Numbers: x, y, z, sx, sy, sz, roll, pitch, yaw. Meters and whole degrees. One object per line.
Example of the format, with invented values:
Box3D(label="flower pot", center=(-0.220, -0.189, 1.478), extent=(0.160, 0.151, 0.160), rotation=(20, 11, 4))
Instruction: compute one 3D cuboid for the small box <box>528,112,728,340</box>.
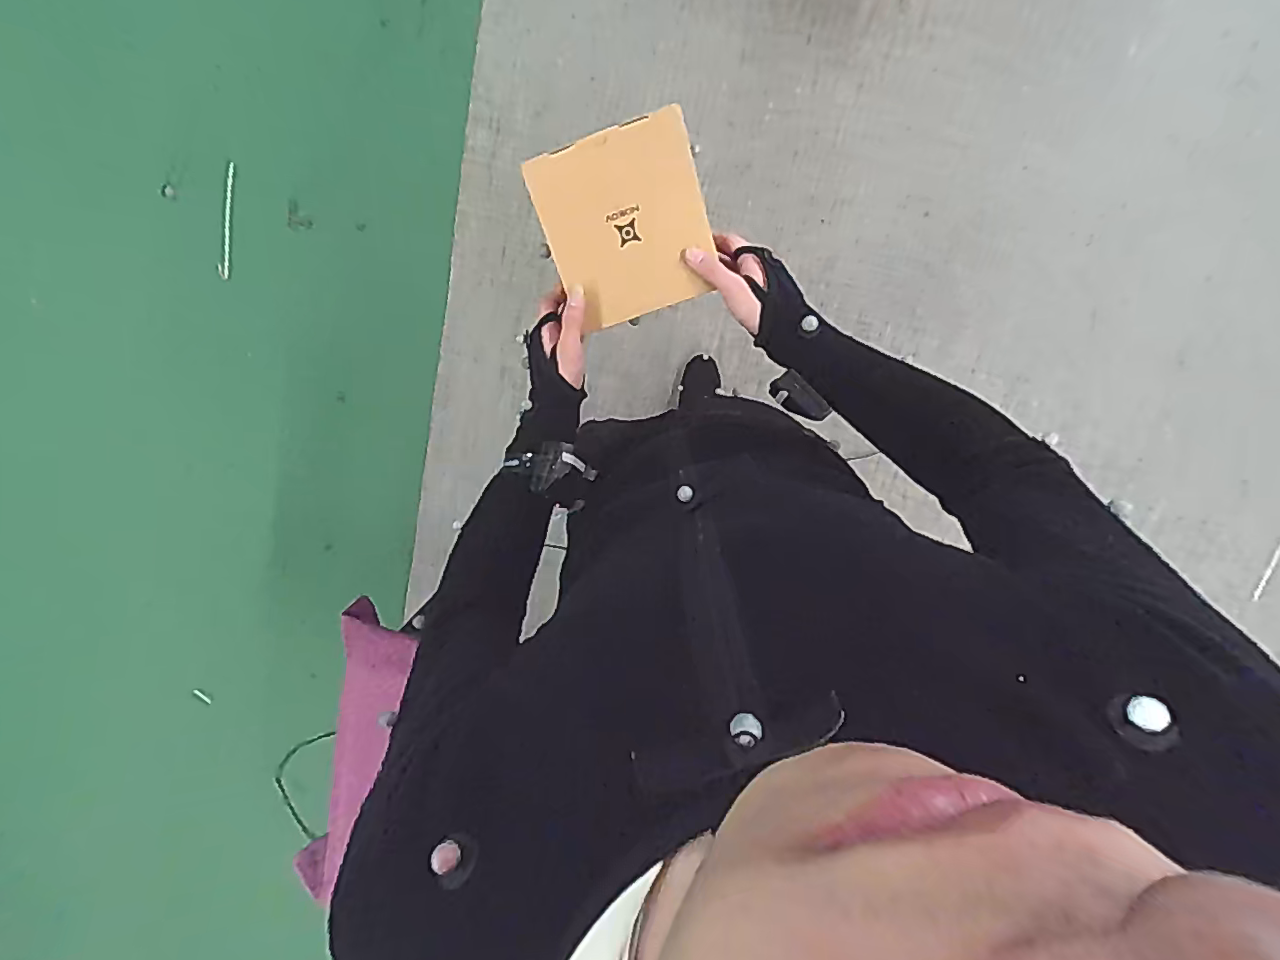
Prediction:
Box3D(label="small box", center=(-0.008, -0.279, 0.619), extent=(0.168, 0.176, 0.179), rotation=(-17, 110, 5))
